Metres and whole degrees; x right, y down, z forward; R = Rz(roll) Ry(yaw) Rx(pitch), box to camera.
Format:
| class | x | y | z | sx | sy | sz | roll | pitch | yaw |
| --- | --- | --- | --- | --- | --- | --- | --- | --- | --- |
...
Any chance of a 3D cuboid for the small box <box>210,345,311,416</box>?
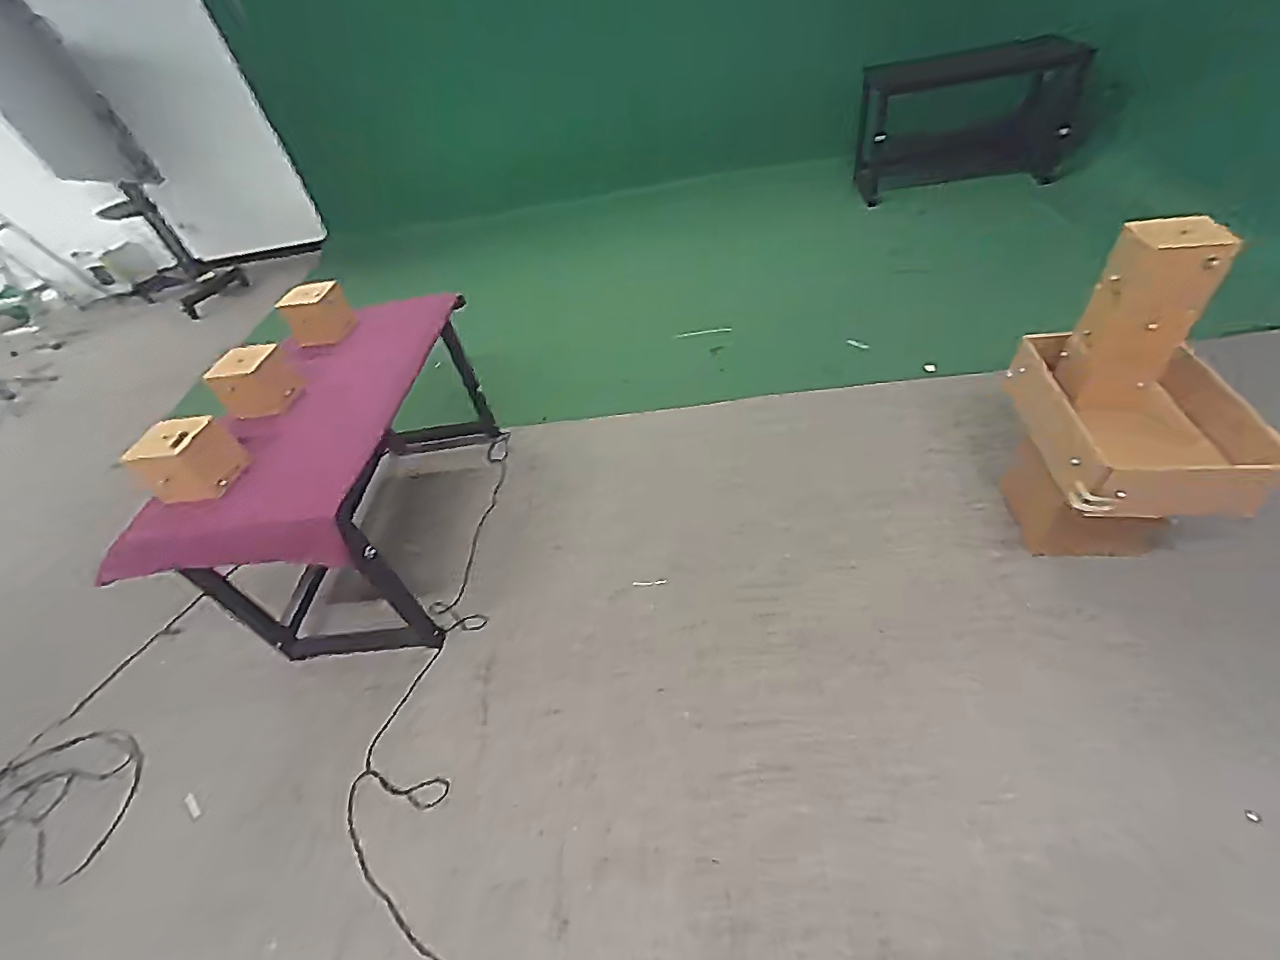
| class | x | y | z | sx | sy | sz | roll | pitch | yaw |
| --- | --- | --- | --- | --- | --- | --- | --- | --- | --- |
| small box | -1.238 | -0.323 | 1.778 | 0.179 | 0.176 | 0.168 | -3 | 46 | 9 |

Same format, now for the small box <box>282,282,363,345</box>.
| class | x | y | z | sx | sy | sz | roll | pitch | yaw |
| --- | --- | --- | --- | --- | --- | --- | --- | --- | --- |
| small box | -1.215 | -0.636 | 2.082 | 0.179 | 0.176 | 0.168 | -5 | 46 | 8 |

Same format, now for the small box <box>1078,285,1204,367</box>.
| class | x | y | z | sx | sy | sz | roll | pitch | yaw |
| --- | --- | --- | --- | --- | --- | --- | --- | --- | --- |
| small box | 1.374 | -0.429 | 1.498 | 0.179 | 0.176 | 0.168 | 0 | 46 | 14 |

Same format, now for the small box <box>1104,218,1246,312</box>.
| class | x | y | z | sx | sy | sz | roll | pitch | yaw |
| --- | --- | --- | --- | --- | --- | --- | --- | --- | --- |
| small box | 1.351 | -0.545 | 1.382 | 0.179 | 0.176 | 0.168 | 1 | 46 | 14 |

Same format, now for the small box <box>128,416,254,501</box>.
| class | x | y | z | sx | sy | sz | roll | pitch | yaw |
| --- | --- | --- | --- | --- | --- | --- | --- | --- | --- |
| small box | -1.237 | -0.058 | 1.509 | 0.179 | 0.176 | 0.168 | -4 | 44 | 7 |
